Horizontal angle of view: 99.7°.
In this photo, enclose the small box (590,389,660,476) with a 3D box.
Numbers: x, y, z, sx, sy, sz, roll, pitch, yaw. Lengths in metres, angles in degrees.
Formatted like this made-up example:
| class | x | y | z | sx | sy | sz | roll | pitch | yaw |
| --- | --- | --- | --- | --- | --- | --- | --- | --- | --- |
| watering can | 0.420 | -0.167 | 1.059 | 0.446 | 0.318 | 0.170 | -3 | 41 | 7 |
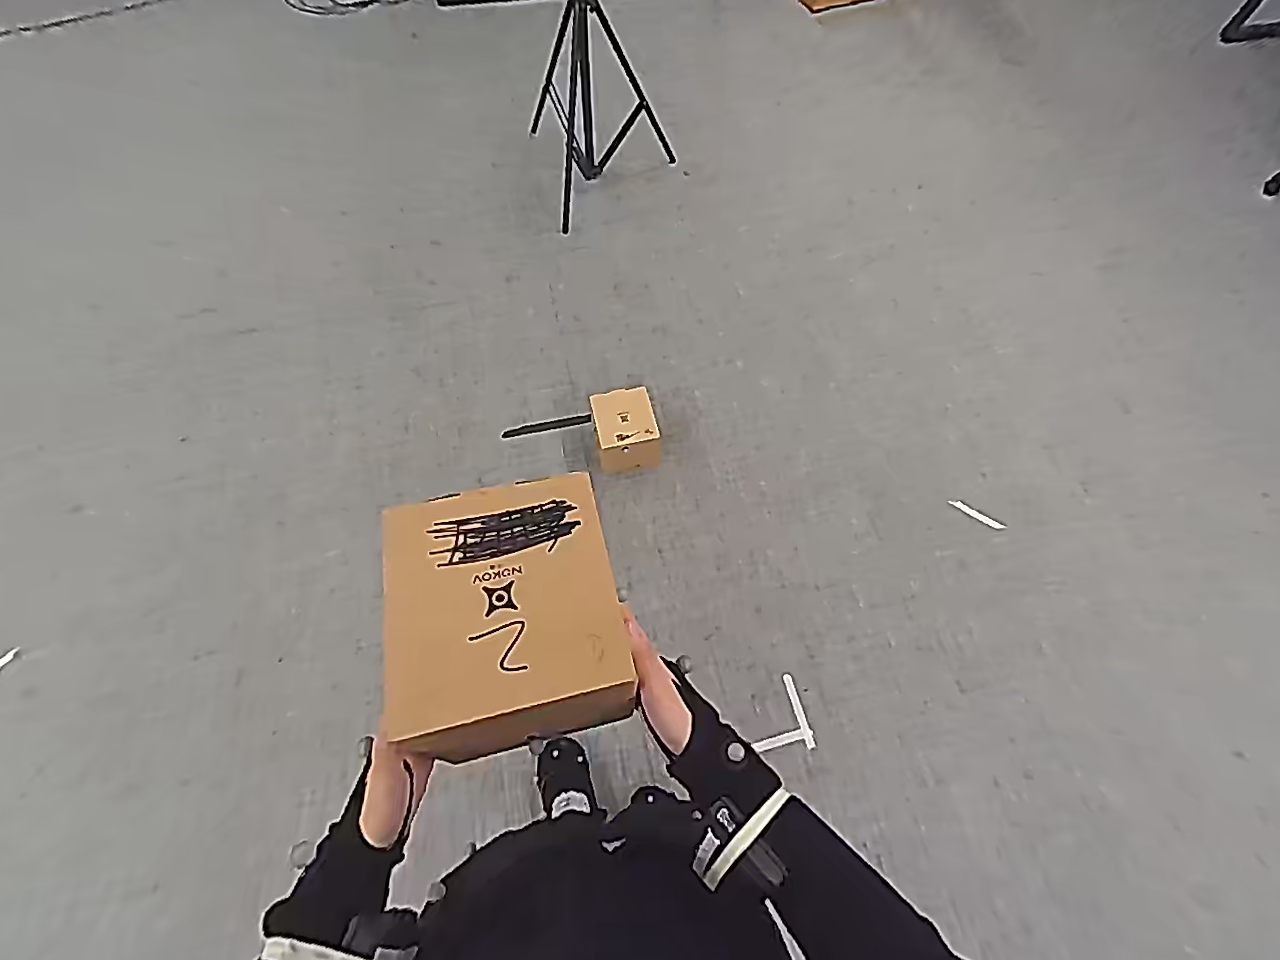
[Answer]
| class | x | y | z | sx | sy | sz | roll | pitch | yaw |
| --- | --- | --- | --- | --- | --- | --- | --- | --- | --- |
| small box | -0.048 | -0.134 | 1.564 | 0.168 | 0.176 | 0.179 | -12 | 65 | -8 |
